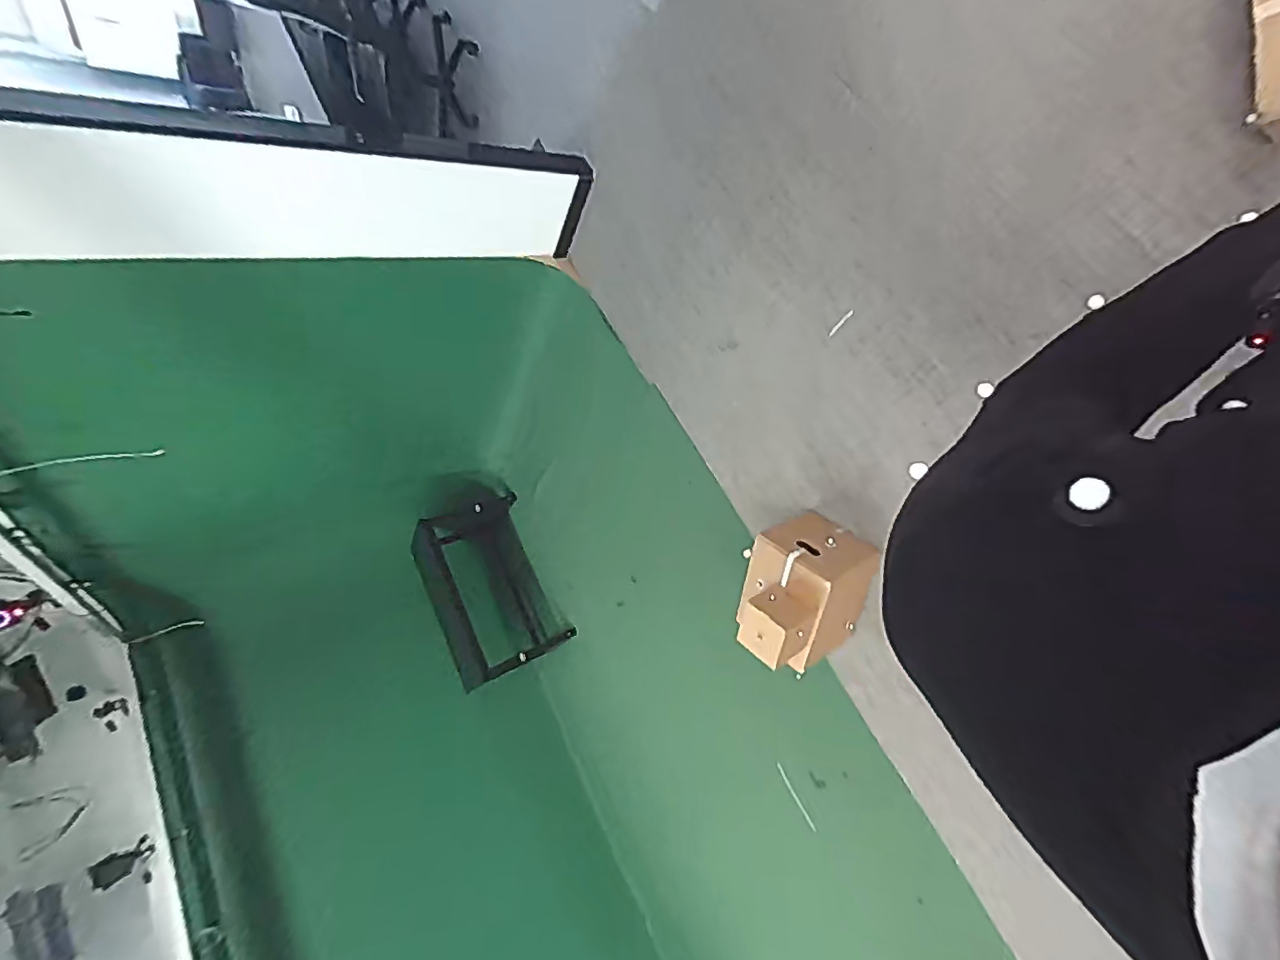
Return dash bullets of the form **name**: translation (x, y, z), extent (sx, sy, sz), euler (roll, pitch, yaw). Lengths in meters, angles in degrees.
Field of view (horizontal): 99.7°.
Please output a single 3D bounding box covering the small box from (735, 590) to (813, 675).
- **small box**: translation (0.440, 0.490, 1.766), extent (0.168, 0.176, 0.179), euler (35, 130, 41)
